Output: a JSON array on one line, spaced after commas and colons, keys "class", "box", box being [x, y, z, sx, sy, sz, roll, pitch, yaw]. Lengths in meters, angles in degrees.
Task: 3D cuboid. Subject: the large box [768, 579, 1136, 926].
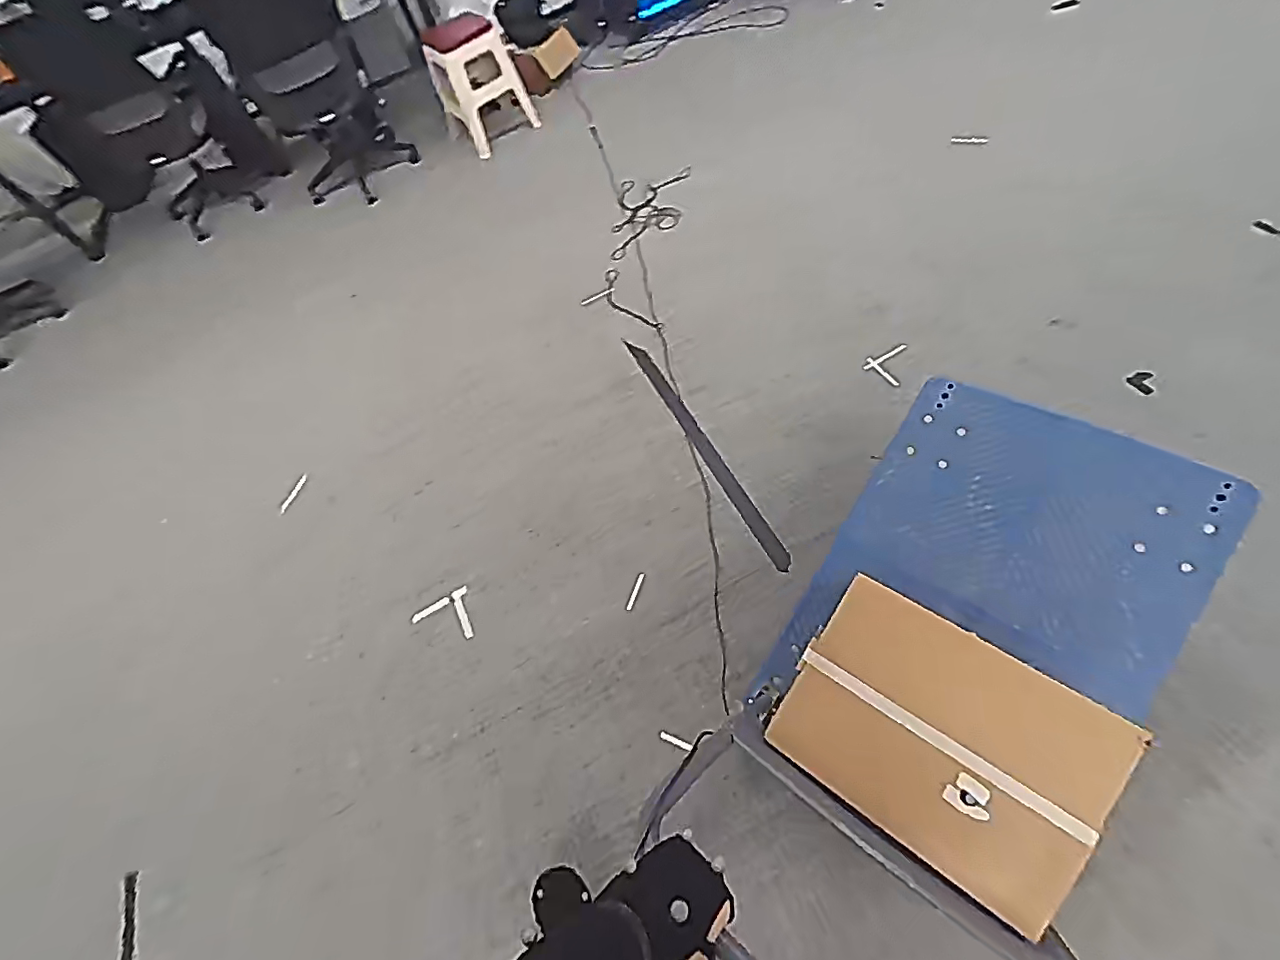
[{"class": "large box", "box": [0.490, 0.415, 0.941, 0.408, 0.320, 0.320, 30, 89, 26]}]
